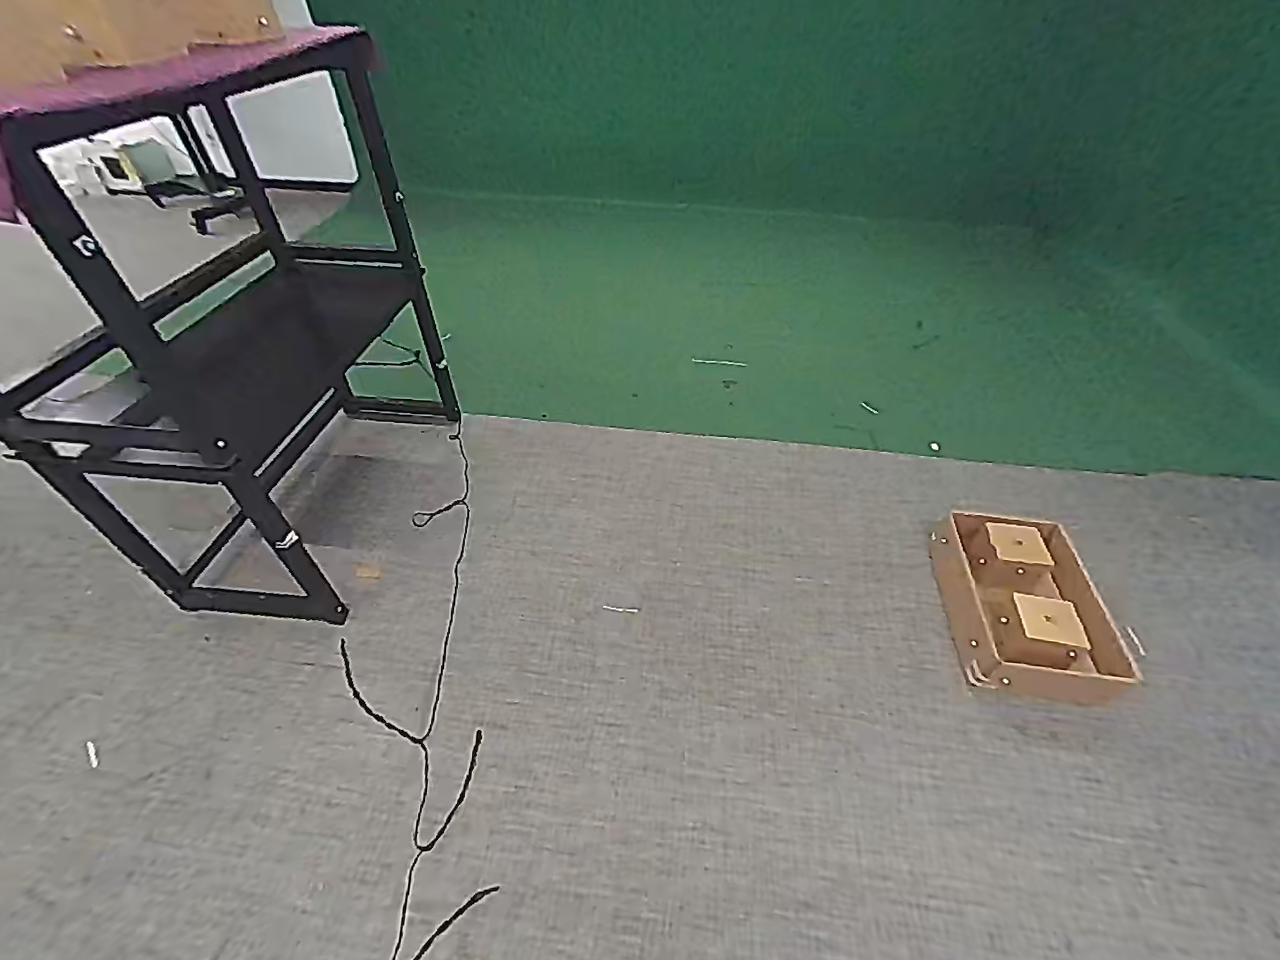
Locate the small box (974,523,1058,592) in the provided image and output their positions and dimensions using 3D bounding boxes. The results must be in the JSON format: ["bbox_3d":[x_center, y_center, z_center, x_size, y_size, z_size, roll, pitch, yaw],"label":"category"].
[{"bbox_3d":[1.304,0.274,1.896,0.179,0.176,0.168,6,46,5],"label":"small box"}]

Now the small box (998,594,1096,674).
[{"bbox_3d":[1.252,0.481,1.685,0.179,0.176,0.168,9,44,9],"label":"small box"}]

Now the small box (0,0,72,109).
[{"bbox_3d":[-1.121,-0.719,0.886,0.168,0.176,0.179,2,43,2],"label":"small box"}]

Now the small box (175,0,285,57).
[{"bbox_3d":[-1.059,-1.206,1.391,0.168,0.176,0.179,3,44,5],"label":"small box"}]

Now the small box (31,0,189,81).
[{"bbox_3d":[-1.099,-0.949,1.125,0.168,0.176,0.179,4,44,5],"label":"small box"}]
